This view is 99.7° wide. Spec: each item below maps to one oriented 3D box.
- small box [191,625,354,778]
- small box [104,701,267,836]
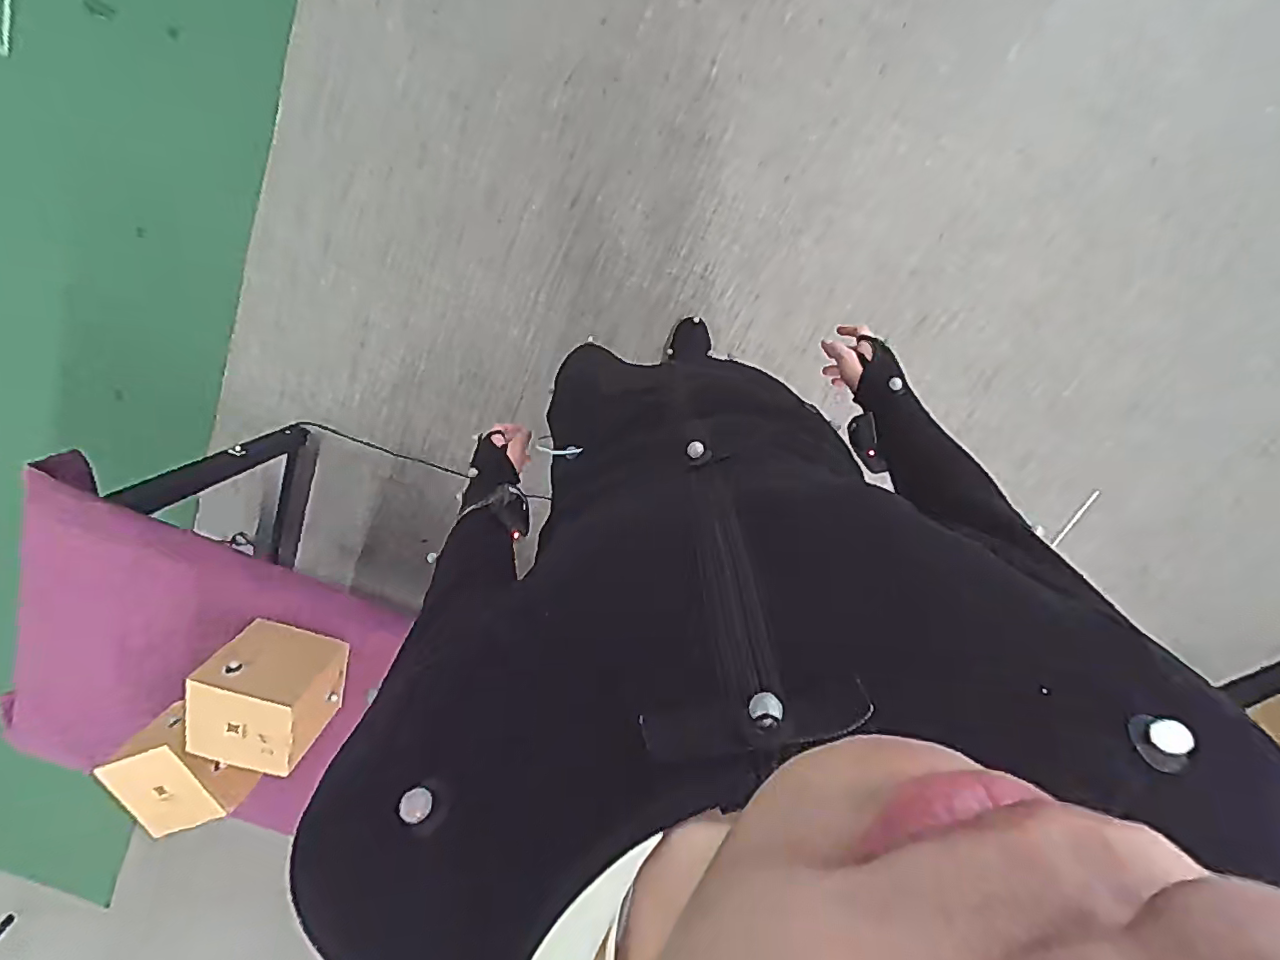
[{"bbox_3d":[-0.650,0.385,0.968,0.179,0.176,0.168,17,111,-4],"label":"small box"},{"bbox_3d":[-0.827,0.525,1.030,0.168,0.176,0.179,-21,108,9],"label":"small box"}]
